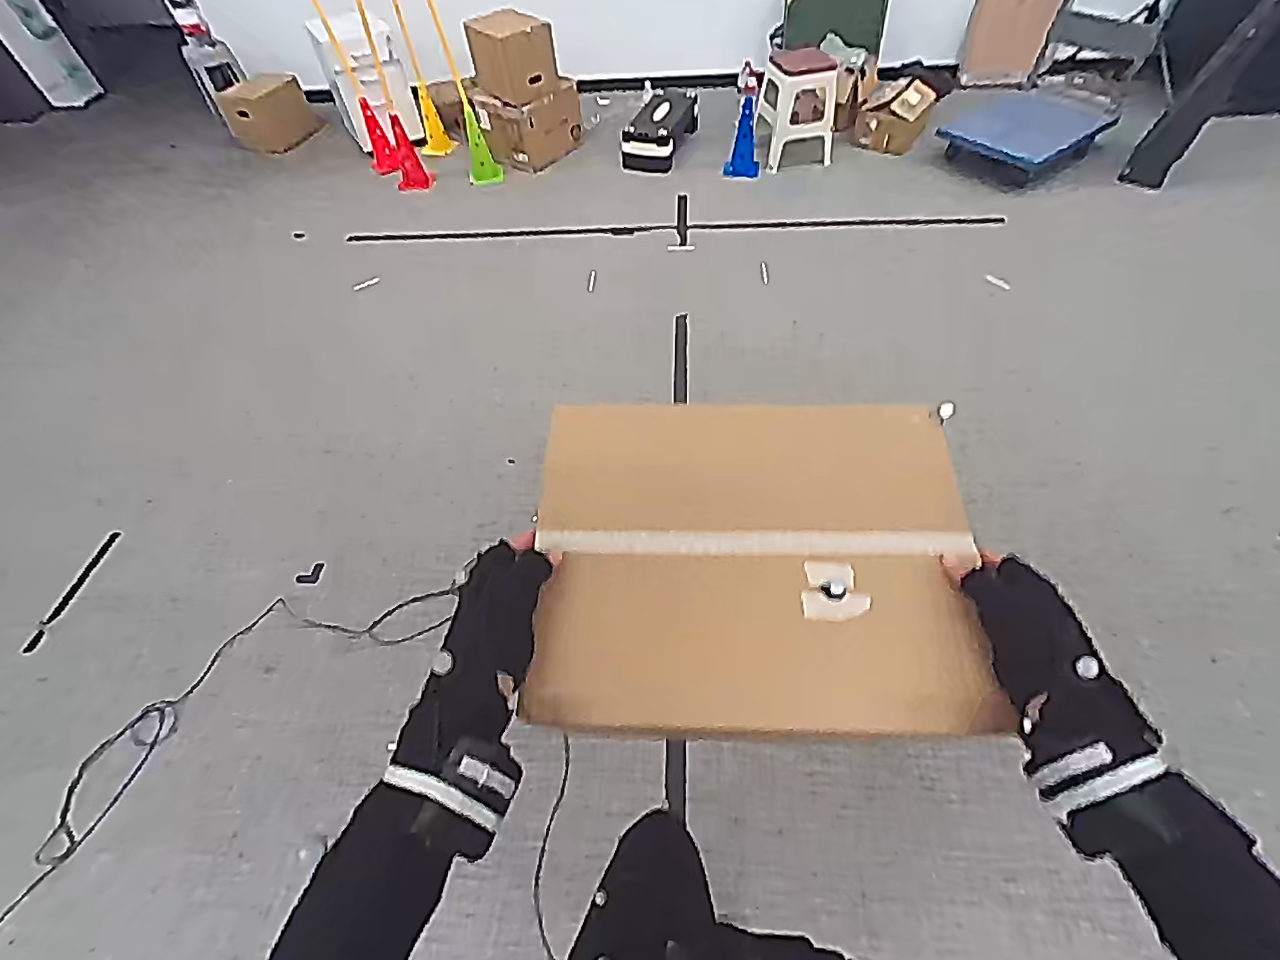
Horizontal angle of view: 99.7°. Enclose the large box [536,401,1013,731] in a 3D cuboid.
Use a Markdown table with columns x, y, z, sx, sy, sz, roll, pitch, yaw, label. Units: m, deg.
| x | y | z | sx | sy | sz | roll | pitch | yaw | label |
| --- | --- | --- | --- | --- | --- | --- | --- | --- | --- |
| 0.111 | 0.121 | 0.644 | 0.408 | 0.320 | 0.320 | 0 | 64 | 1 | large box |
